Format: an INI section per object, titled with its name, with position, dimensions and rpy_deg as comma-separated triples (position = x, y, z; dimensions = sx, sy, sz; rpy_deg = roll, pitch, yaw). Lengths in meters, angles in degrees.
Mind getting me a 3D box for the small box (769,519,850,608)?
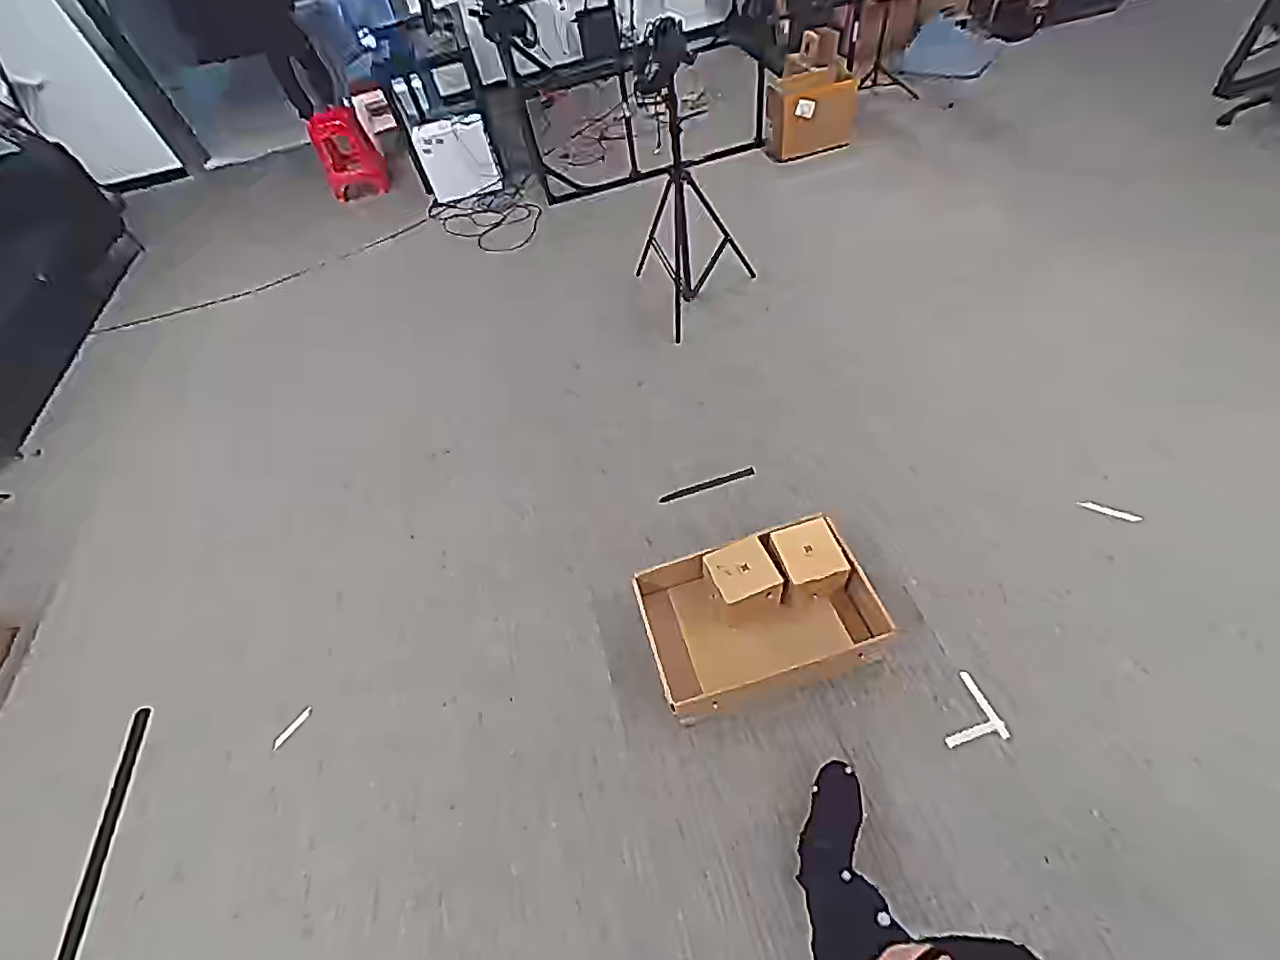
[small box]
position = 0.486, 0.247, 1.585
dimensions = 0.168, 0.176, 0.179
rpy_deg = -18, 55, -2
